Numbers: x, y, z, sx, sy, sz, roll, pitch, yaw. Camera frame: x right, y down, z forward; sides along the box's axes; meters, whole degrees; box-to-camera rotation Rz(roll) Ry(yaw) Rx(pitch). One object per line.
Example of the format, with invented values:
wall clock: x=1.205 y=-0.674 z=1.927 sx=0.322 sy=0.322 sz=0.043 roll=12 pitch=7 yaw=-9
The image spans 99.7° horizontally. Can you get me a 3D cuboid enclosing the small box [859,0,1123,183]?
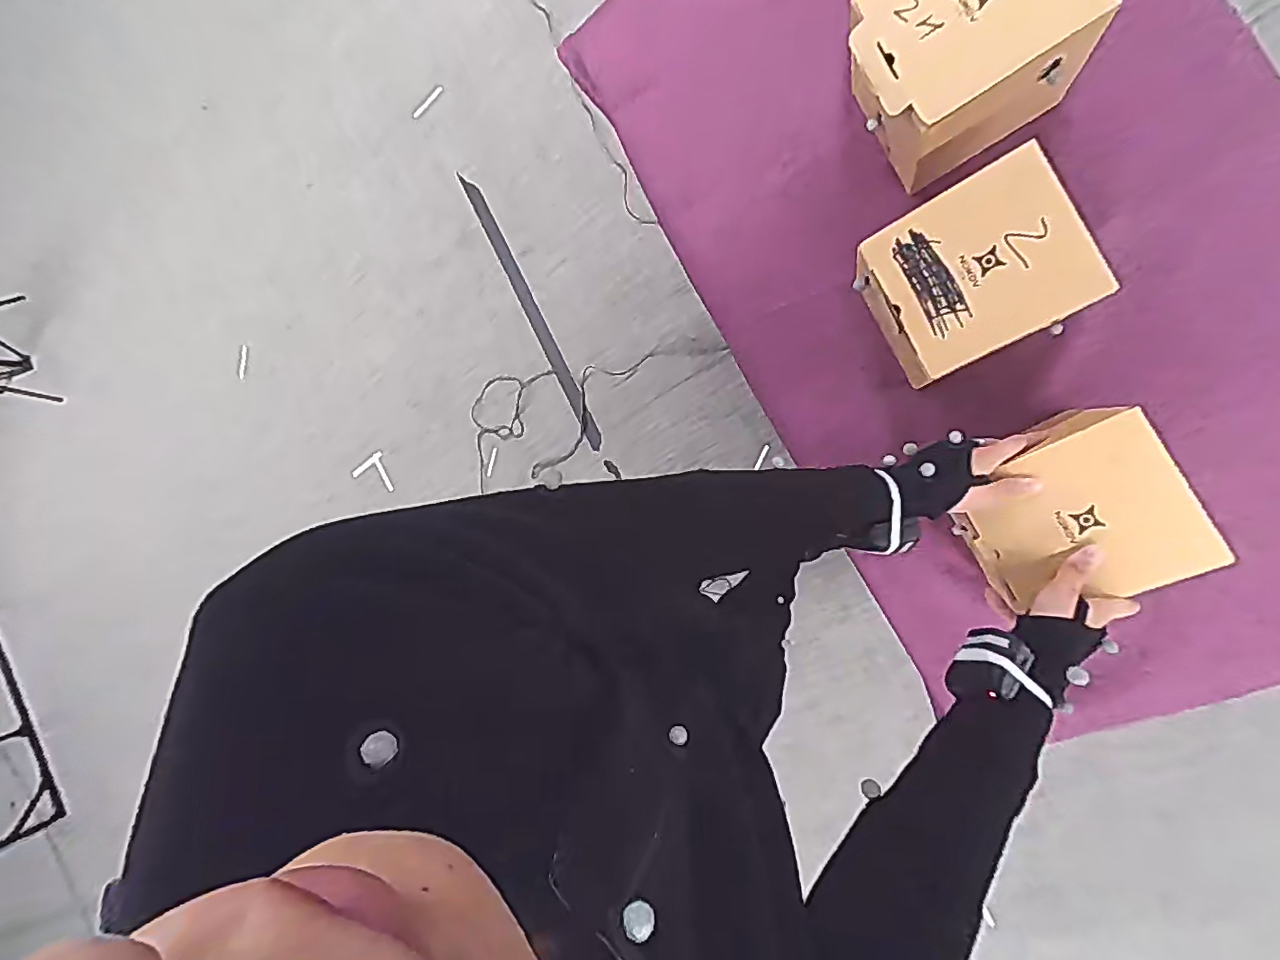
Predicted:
small box: x=0.354 y=-0.471 z=0.588 sx=0.179 sy=0.176 sz=0.168 roll=-27 pitch=85 yaw=23

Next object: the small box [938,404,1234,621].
small box: x=0.465 y=0.027 z=0.602 sx=0.179 sy=0.176 sz=0.168 roll=-30 pitch=84 yaw=23
